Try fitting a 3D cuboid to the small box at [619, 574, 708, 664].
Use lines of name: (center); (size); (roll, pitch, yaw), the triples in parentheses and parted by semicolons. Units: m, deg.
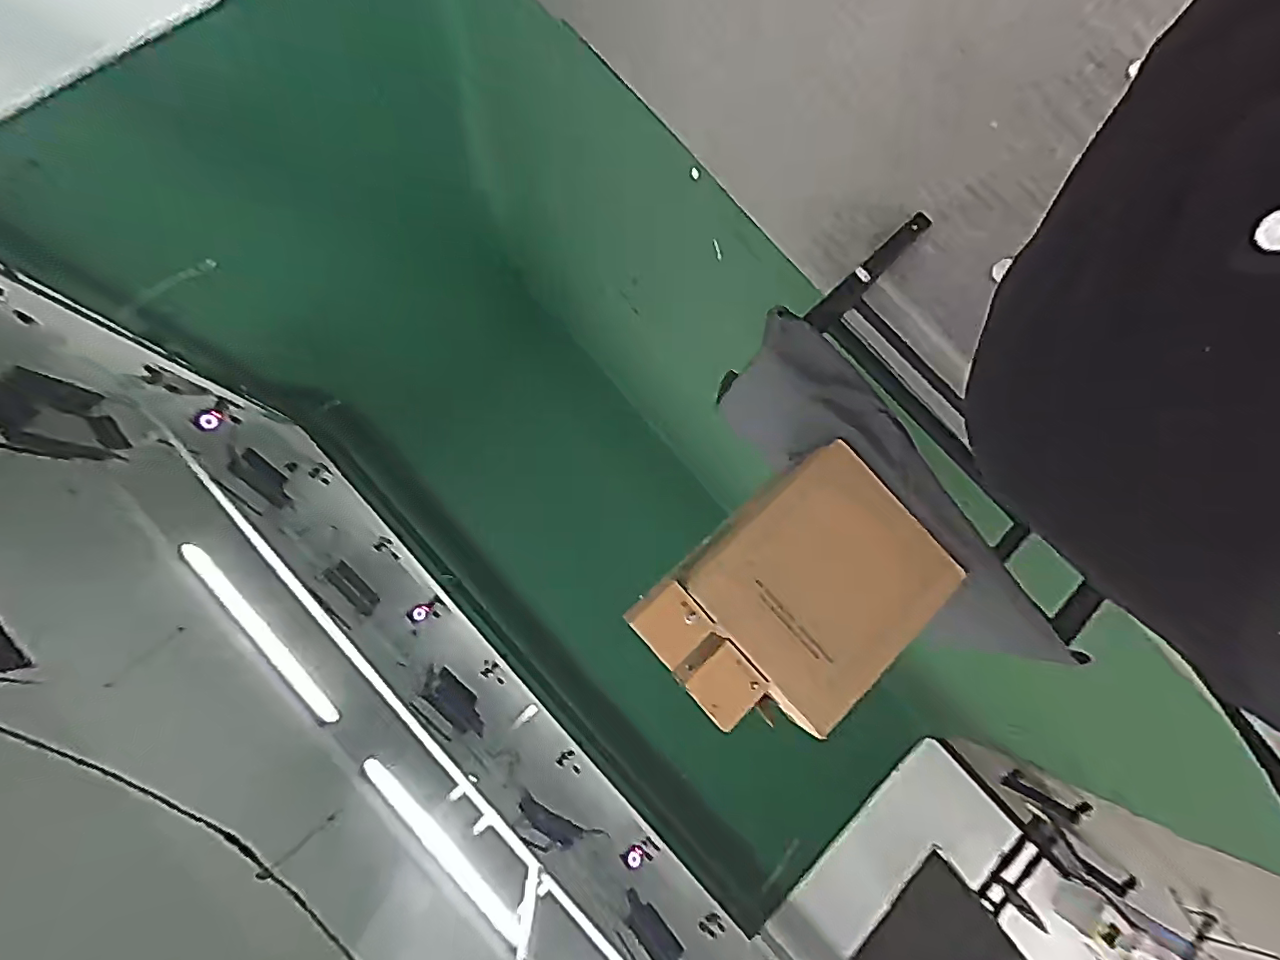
small box: (0.064, 0.375, 1.494); (0.168, 0.176, 0.179); (48, 167, 1)
